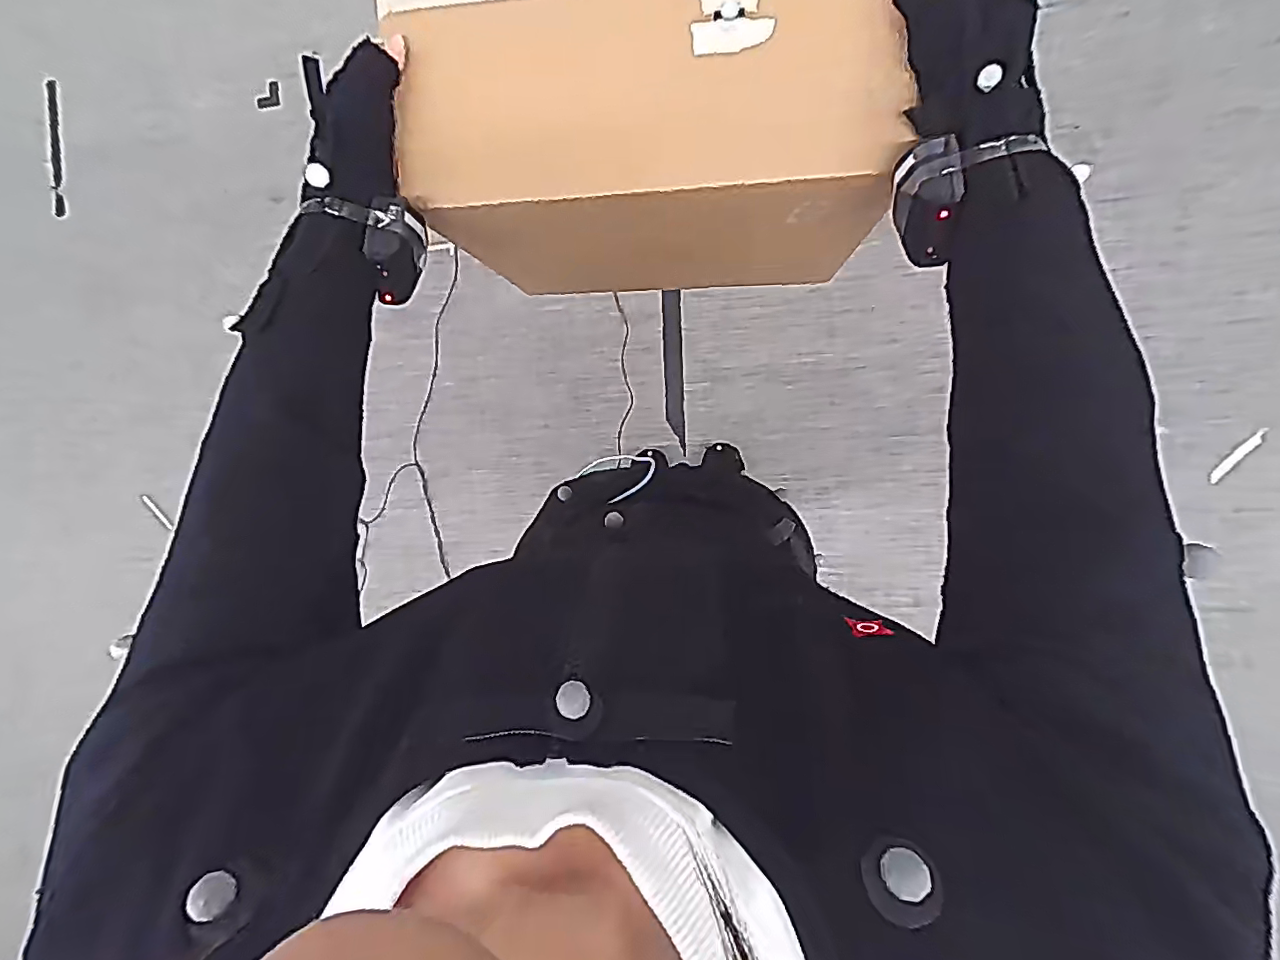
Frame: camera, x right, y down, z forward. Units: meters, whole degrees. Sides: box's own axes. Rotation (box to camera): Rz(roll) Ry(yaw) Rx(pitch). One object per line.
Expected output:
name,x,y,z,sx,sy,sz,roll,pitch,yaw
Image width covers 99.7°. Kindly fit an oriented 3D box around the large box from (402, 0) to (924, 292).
large box,0.022,-0.398,0.555,0.408,0.320,0.320,-1,97,7
